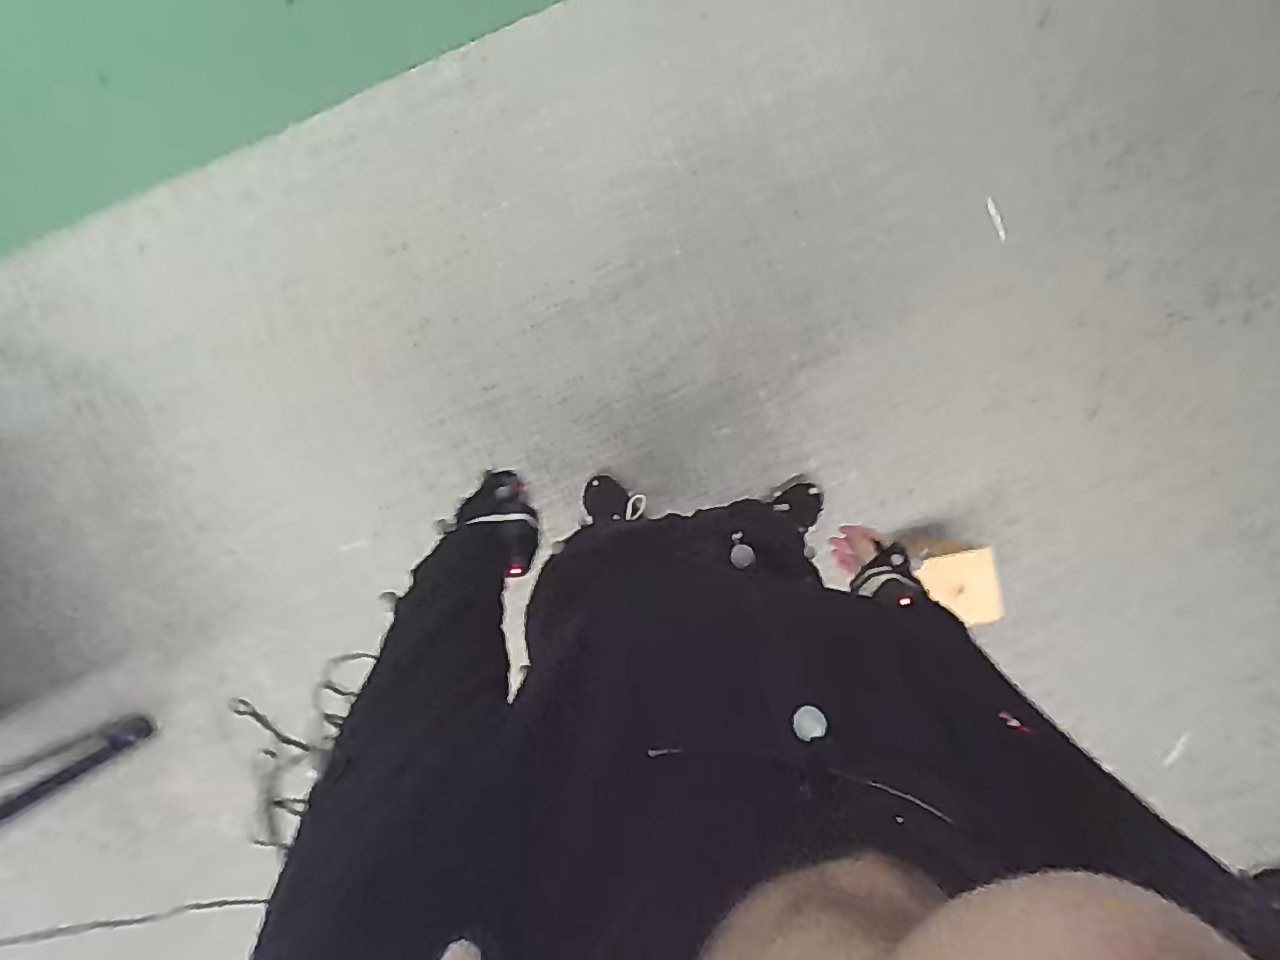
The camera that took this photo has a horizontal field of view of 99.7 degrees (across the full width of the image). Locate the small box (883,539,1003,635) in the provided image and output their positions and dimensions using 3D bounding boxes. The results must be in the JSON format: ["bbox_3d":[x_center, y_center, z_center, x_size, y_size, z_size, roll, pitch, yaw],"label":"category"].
[{"bbox_3d":[0.704,0.243,1.270,0.179,0.176,0.168,-12,93,1],"label":"small box"}]
